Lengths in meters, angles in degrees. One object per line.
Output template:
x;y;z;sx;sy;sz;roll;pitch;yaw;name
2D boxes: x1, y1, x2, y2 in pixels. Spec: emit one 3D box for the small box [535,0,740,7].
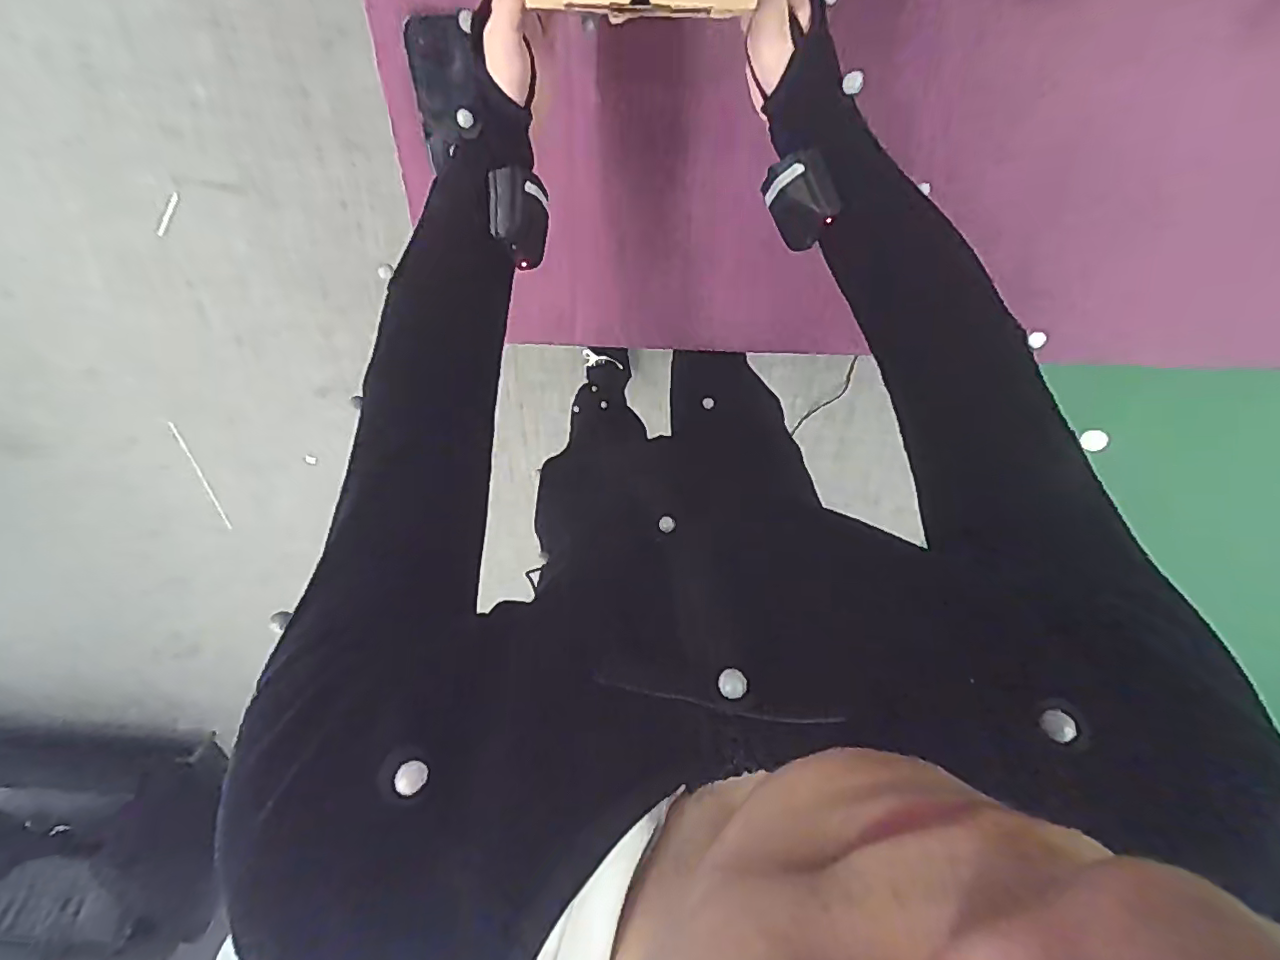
-0.001;-0.454;0.383;0.168;0.176;0.179;3;130;1;small box
